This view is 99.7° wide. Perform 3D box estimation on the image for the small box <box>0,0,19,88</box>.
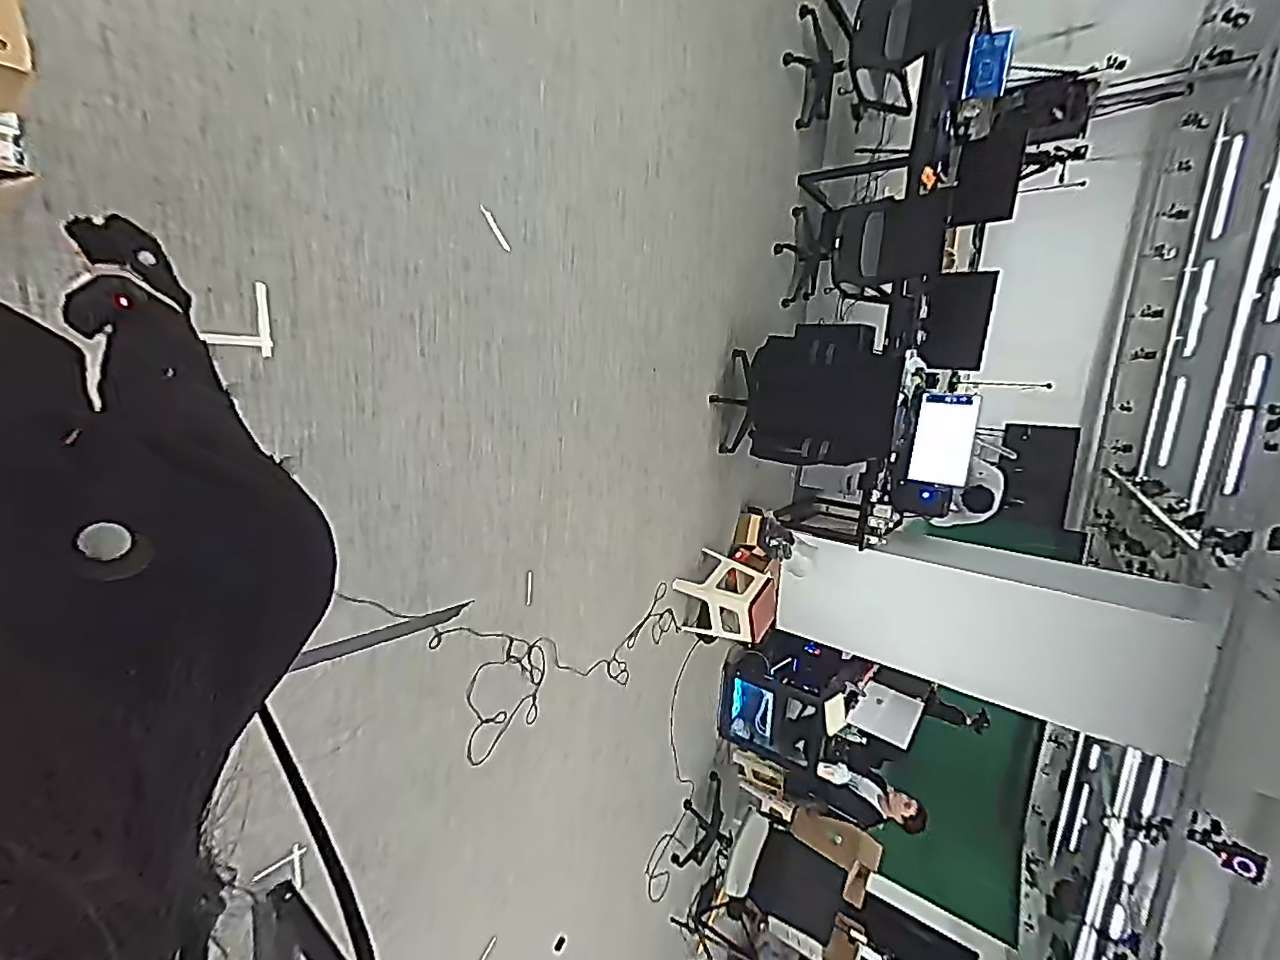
[{"bbox_3d":[-0.753,-0.513,0.522,0.168,0.176,0.179,-15,109,-54],"label":"small box"}]
